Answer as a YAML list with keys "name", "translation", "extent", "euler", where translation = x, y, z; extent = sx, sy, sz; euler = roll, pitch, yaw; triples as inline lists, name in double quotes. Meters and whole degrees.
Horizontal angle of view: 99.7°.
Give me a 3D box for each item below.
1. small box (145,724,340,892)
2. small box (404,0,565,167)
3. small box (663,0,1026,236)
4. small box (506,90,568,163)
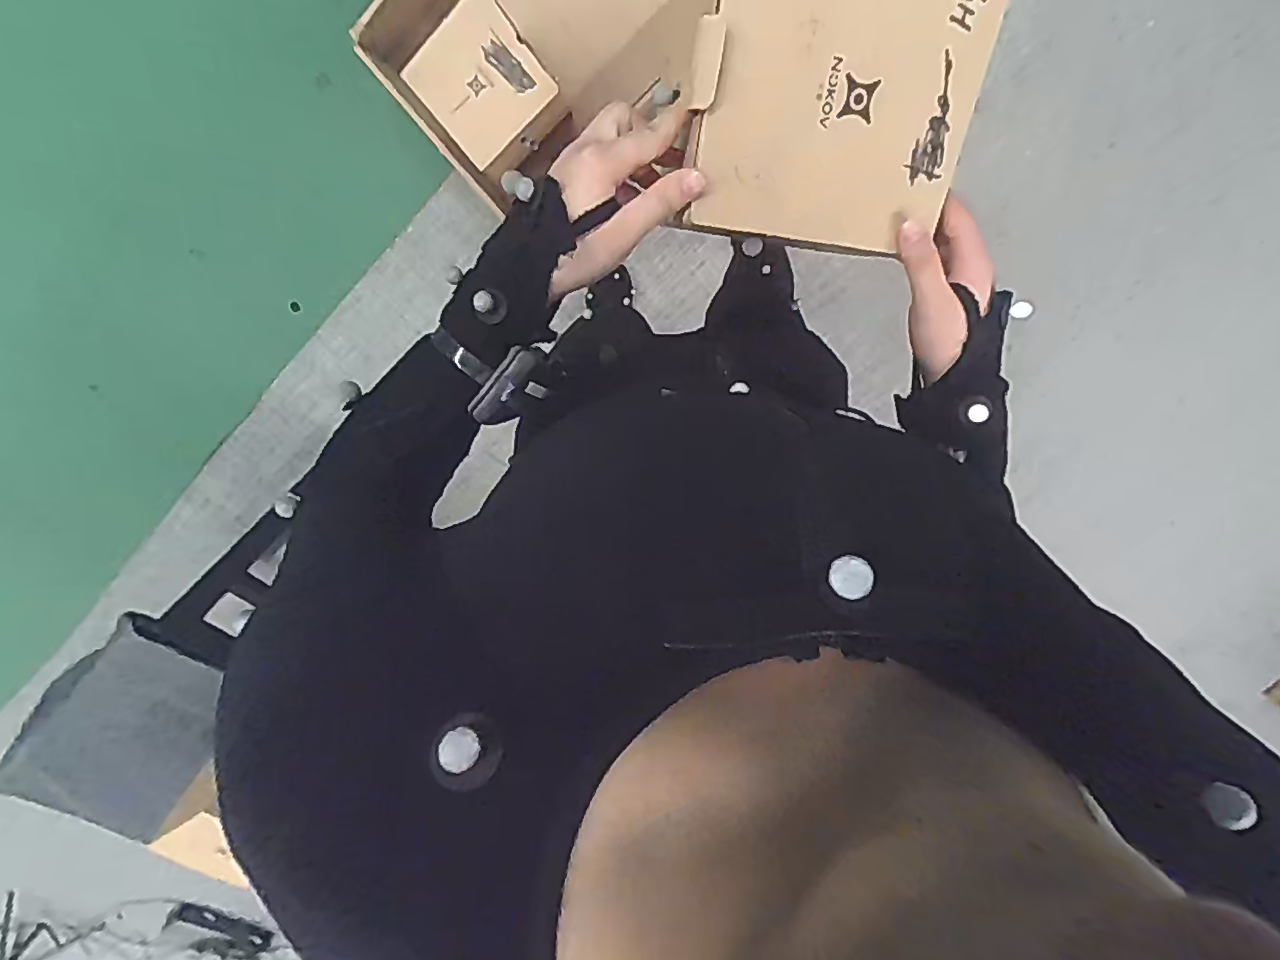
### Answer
- name: "small box"
  translation: [-0.663, 0.557, 0.928]
  extent: [0.168, 0.176, 0.179]
  euler: [-35, 115, 16]
- name: "small box"
  translation: [-0.235, -0.637, 0.866]
  extent: [0.179, 0.176, 0.168]
  euler: [-36, 115, 16]
- name: "small box"
  translation: [0.121, -0.274, 0.386]
  extent: [0.179, 0.176, 0.168]
  euler: [3, 114, -11]
- name: "small box"
  translation: [-0.247, -0.720, 1.007]
  extent: [0.179, 0.176, 0.168]
  euler: [-37, 116, 15]
